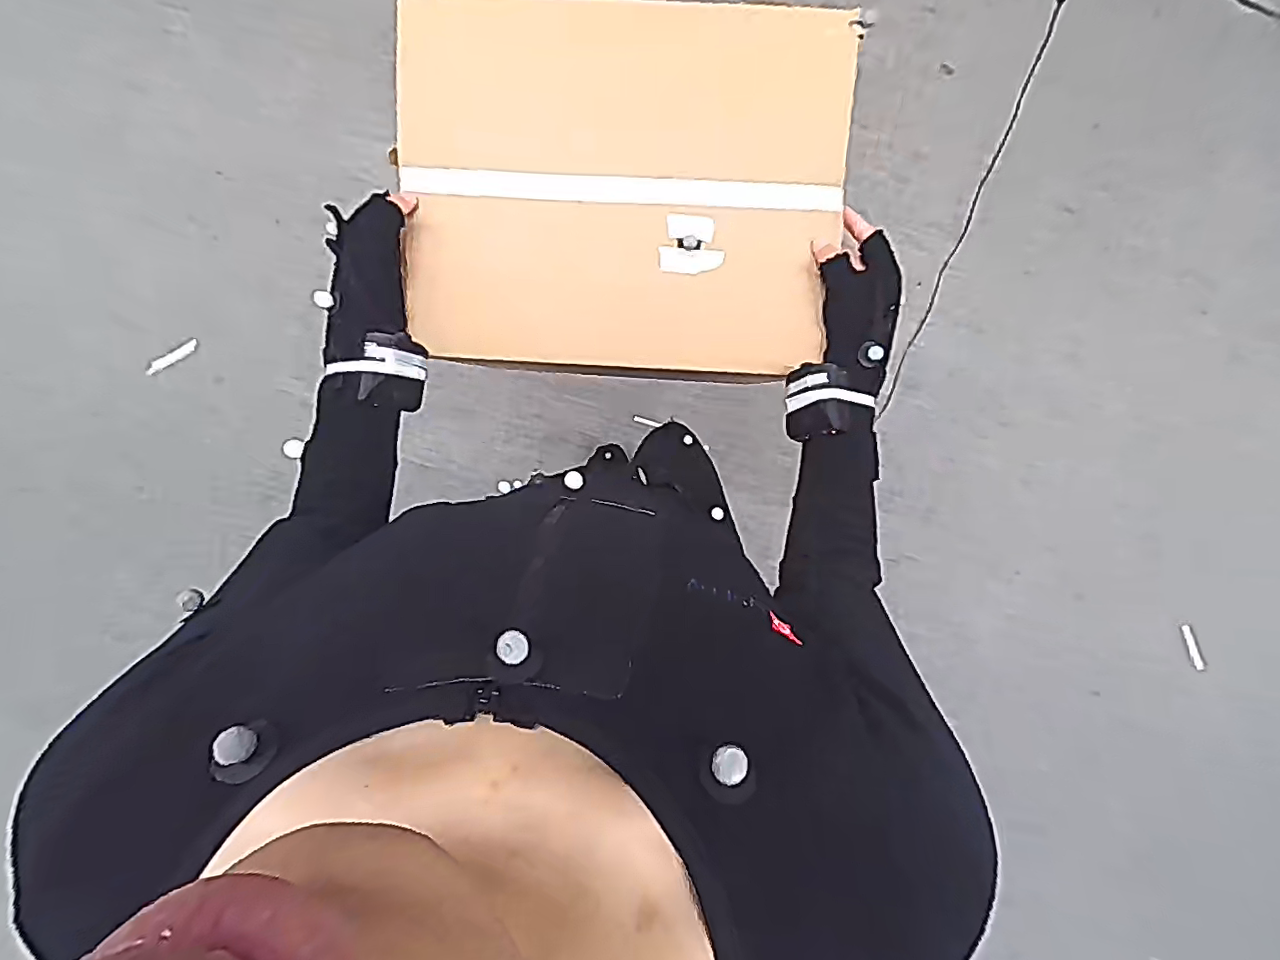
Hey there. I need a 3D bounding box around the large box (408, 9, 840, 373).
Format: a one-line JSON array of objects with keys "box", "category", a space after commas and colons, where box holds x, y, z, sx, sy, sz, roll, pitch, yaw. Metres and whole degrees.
[{"box": [-0.019, -0.296, 0.662, 0.408, 0.320, 0.320, 2, 100, 0], "category": "large box"}]
